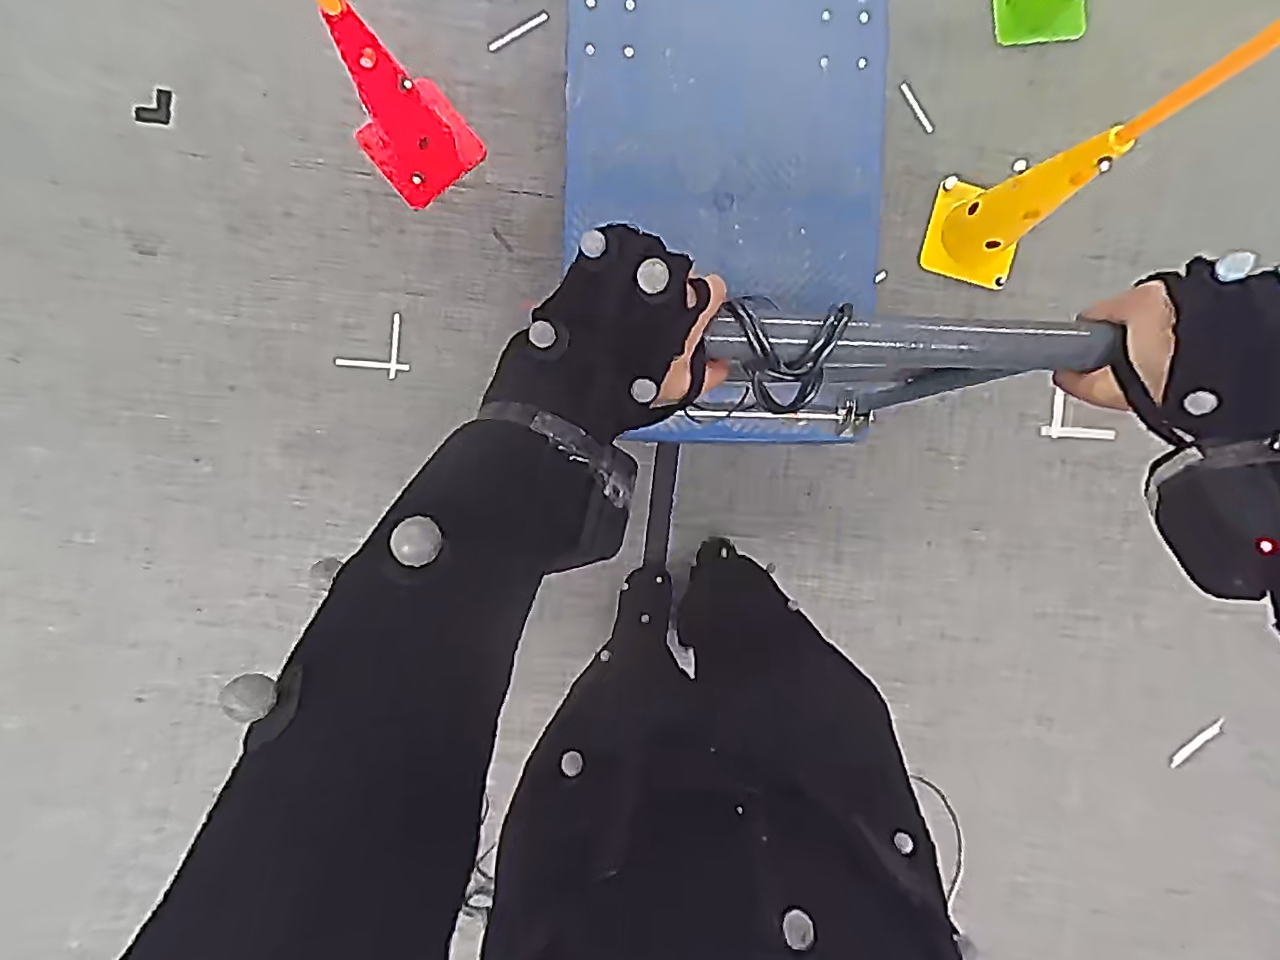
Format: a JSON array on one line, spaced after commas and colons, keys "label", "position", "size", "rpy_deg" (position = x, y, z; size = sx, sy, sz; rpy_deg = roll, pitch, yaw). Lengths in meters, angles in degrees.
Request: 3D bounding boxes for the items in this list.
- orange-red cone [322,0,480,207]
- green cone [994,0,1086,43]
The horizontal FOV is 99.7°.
[{"label": "orange-red cone", "position": [-0.446, -0.684, 0.943], "size": [0.199, 0.360, 0.198], "rpy_deg": [-39, 94, -2]}, {"label": "green cone", "position": [0.856, -1.032, 0.980], "size": [0.200, 0.368, 0.202], "rpy_deg": [-8, 94, -2]}]
